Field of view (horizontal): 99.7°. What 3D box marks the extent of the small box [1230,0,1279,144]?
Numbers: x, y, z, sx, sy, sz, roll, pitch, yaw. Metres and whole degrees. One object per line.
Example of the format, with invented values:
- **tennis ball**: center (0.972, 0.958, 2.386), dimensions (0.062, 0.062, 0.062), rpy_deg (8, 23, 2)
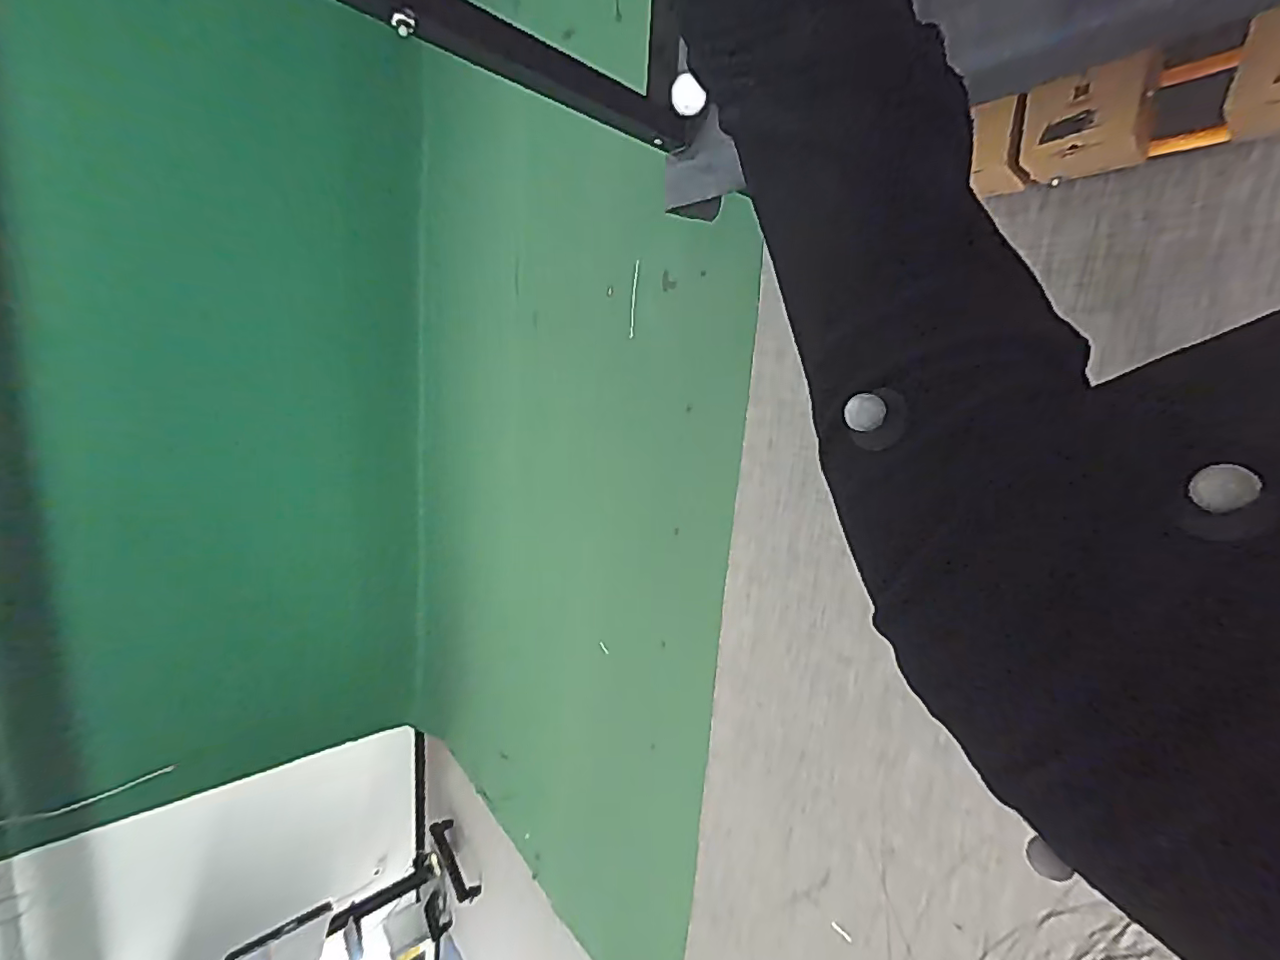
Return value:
- **small box**: center (1.040, -0.641, 0.815), dimensions (0.168, 0.176, 0.179), rpy_deg (22, 111, 47)
